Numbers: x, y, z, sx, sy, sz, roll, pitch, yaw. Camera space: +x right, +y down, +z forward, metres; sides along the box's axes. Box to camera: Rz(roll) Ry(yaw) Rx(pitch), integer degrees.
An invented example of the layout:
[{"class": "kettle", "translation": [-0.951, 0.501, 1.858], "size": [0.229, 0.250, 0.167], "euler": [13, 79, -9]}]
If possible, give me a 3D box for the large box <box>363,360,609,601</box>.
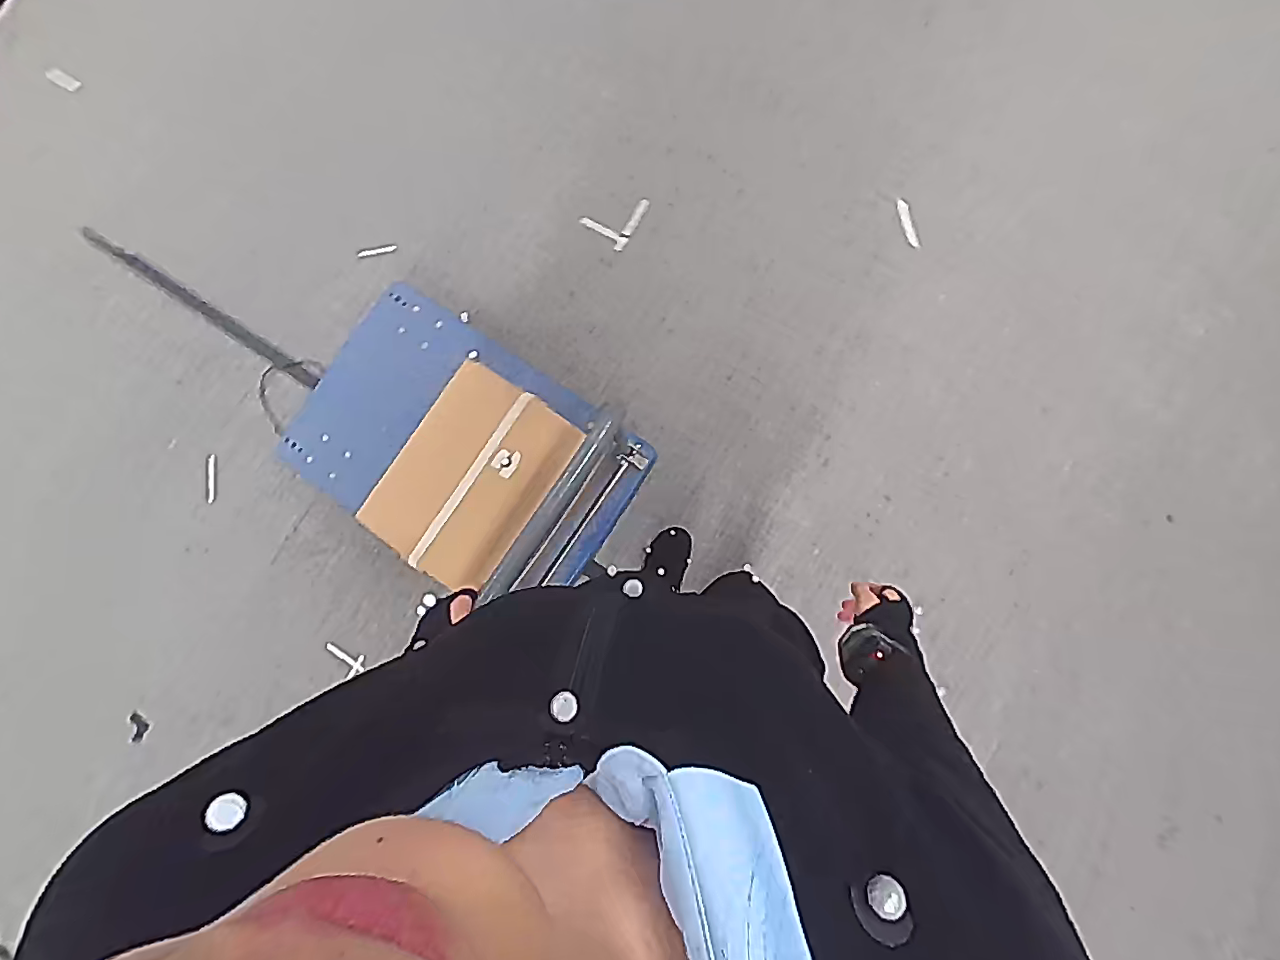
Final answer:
[{"class": "large box", "translation": [-0.322, 0.015, 1.235], "size": [0.320, 0.320, 0.408], "euler": [34, 87, 7]}]
